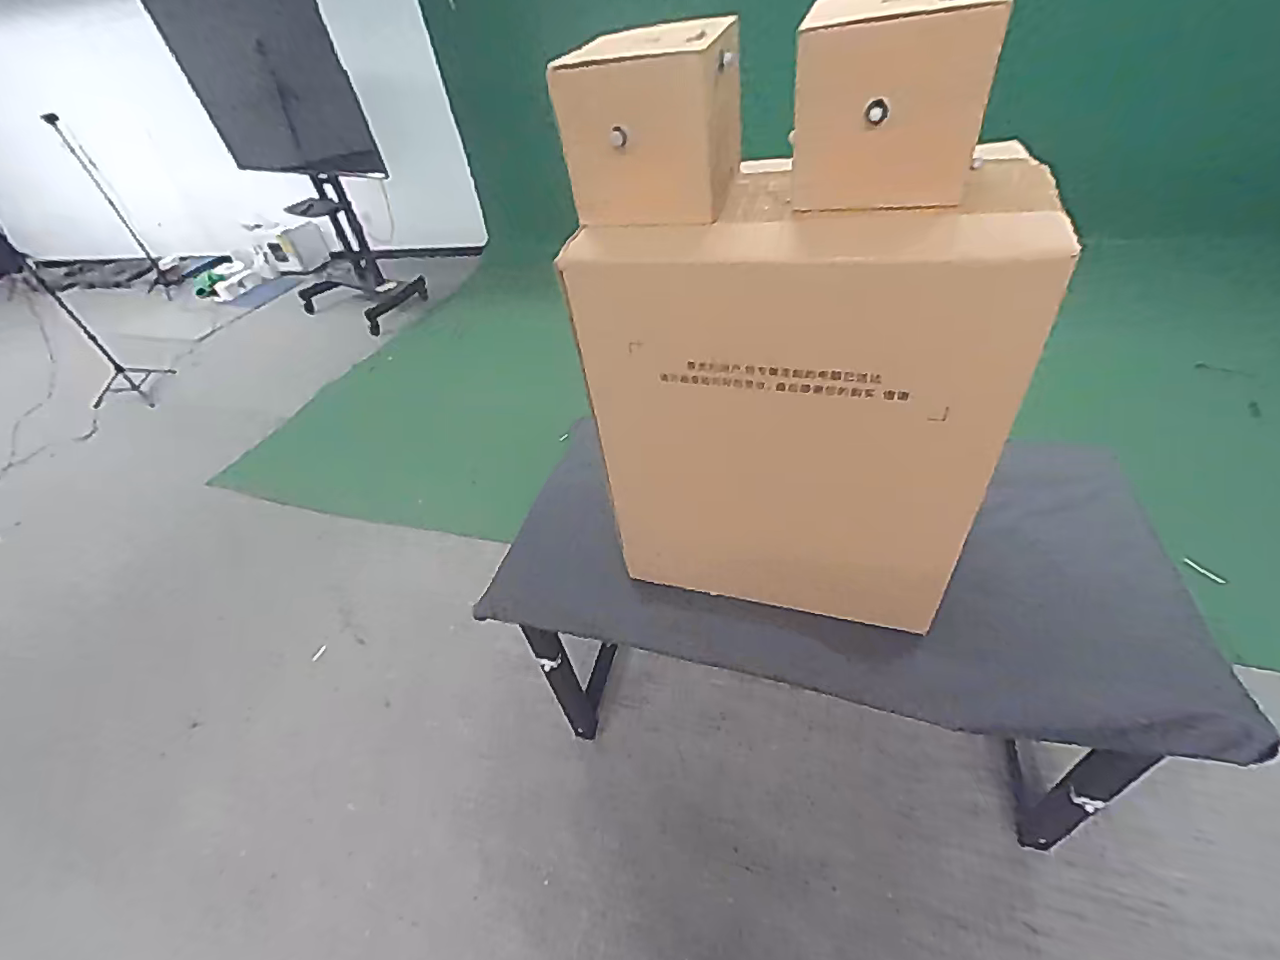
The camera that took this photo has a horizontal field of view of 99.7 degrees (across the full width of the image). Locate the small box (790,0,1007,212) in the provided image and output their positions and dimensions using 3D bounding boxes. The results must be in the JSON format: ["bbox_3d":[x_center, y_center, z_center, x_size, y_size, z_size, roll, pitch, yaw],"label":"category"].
[{"bbox_3d":[0.265,-0.408,0.583,0.179,0.176,0.168,8,50,21],"label":"small box"}]

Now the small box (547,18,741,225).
[{"bbox_3d":[0.018,-0.424,0.655,0.179,0.176,0.168,8,50,20],"label":"small box"}]
